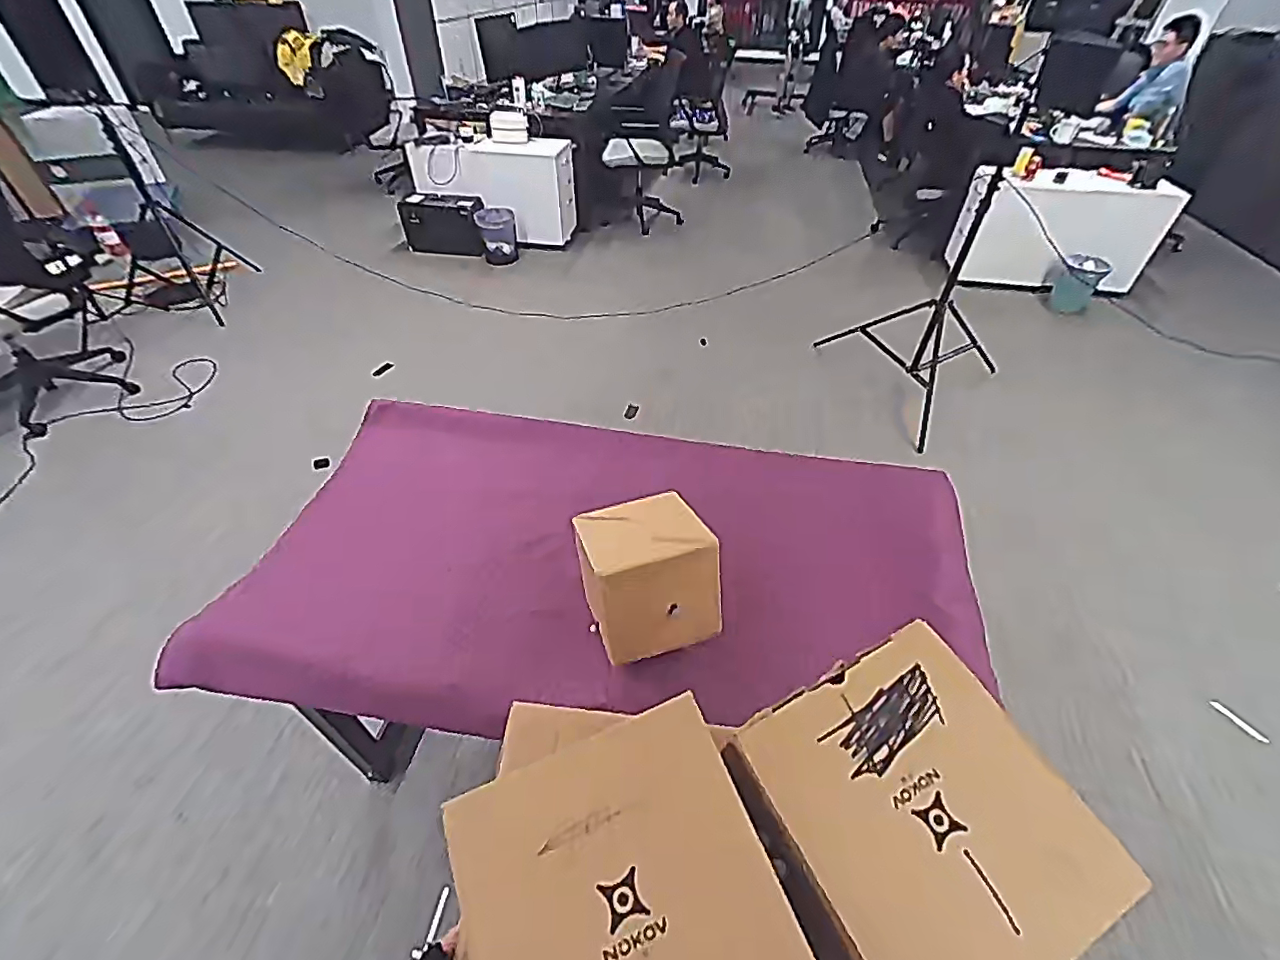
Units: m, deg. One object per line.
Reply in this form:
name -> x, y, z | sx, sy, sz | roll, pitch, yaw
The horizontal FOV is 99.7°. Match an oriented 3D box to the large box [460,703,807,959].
large box -> 0.060, 0.435, 0.531 | 0.408, 0.320, 0.320 | 5, 55, 2

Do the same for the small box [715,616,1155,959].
small box -> 0.168, 0.232, 0.378 | 0.168, 0.176, 0.179 | -23, 58, -16

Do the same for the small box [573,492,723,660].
small box -> 0.010, 0.133, 0.823 | 0.179, 0.176, 0.168 | -14, 25, -14
